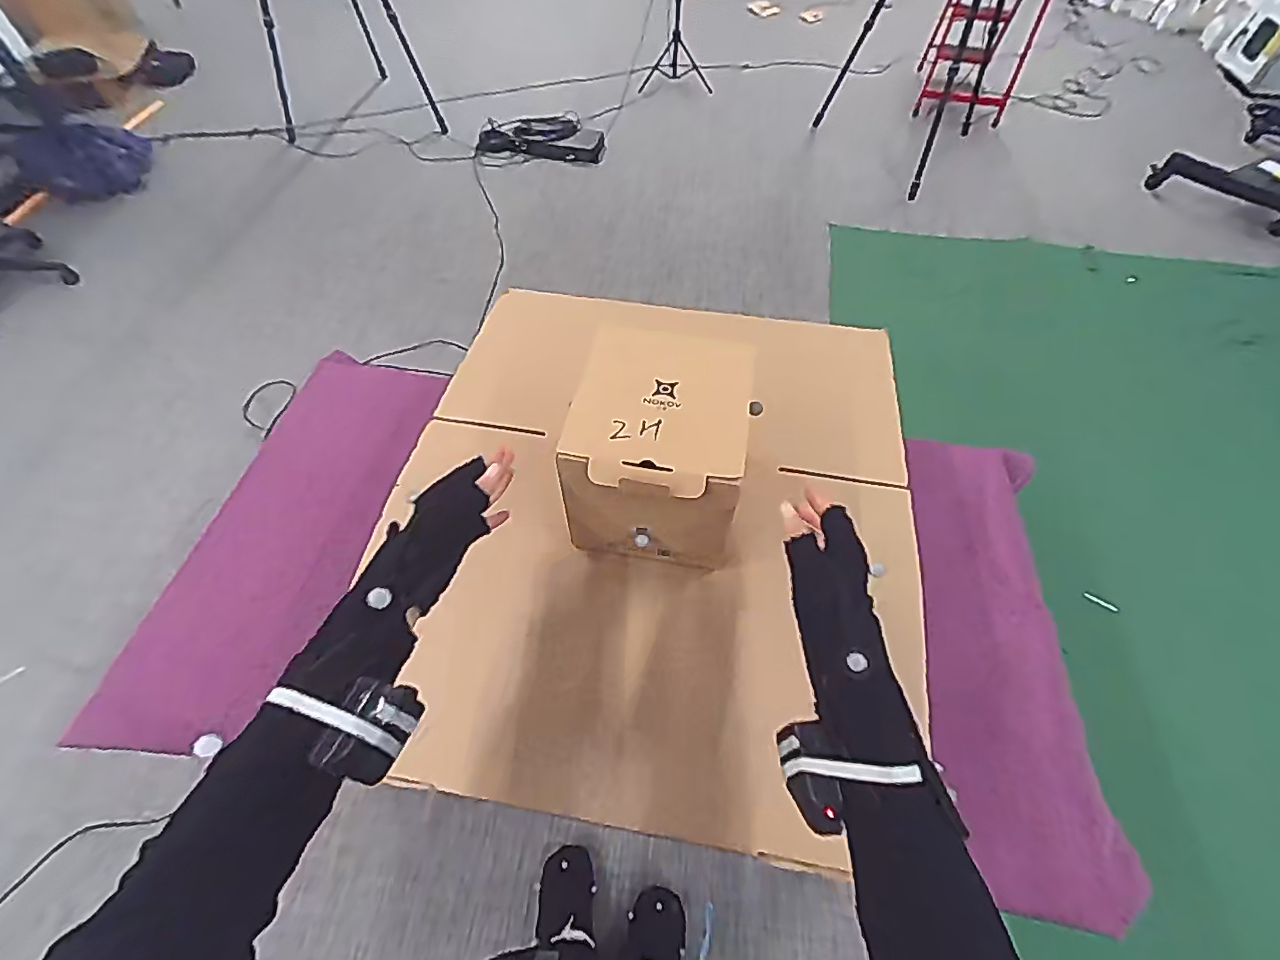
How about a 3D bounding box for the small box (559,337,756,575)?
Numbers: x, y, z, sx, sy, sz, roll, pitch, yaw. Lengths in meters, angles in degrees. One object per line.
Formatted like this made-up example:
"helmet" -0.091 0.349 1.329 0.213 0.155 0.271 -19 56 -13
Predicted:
"small box" 0.022 -0.023 0.580 0.168 0.176 0.179 9 56 6
